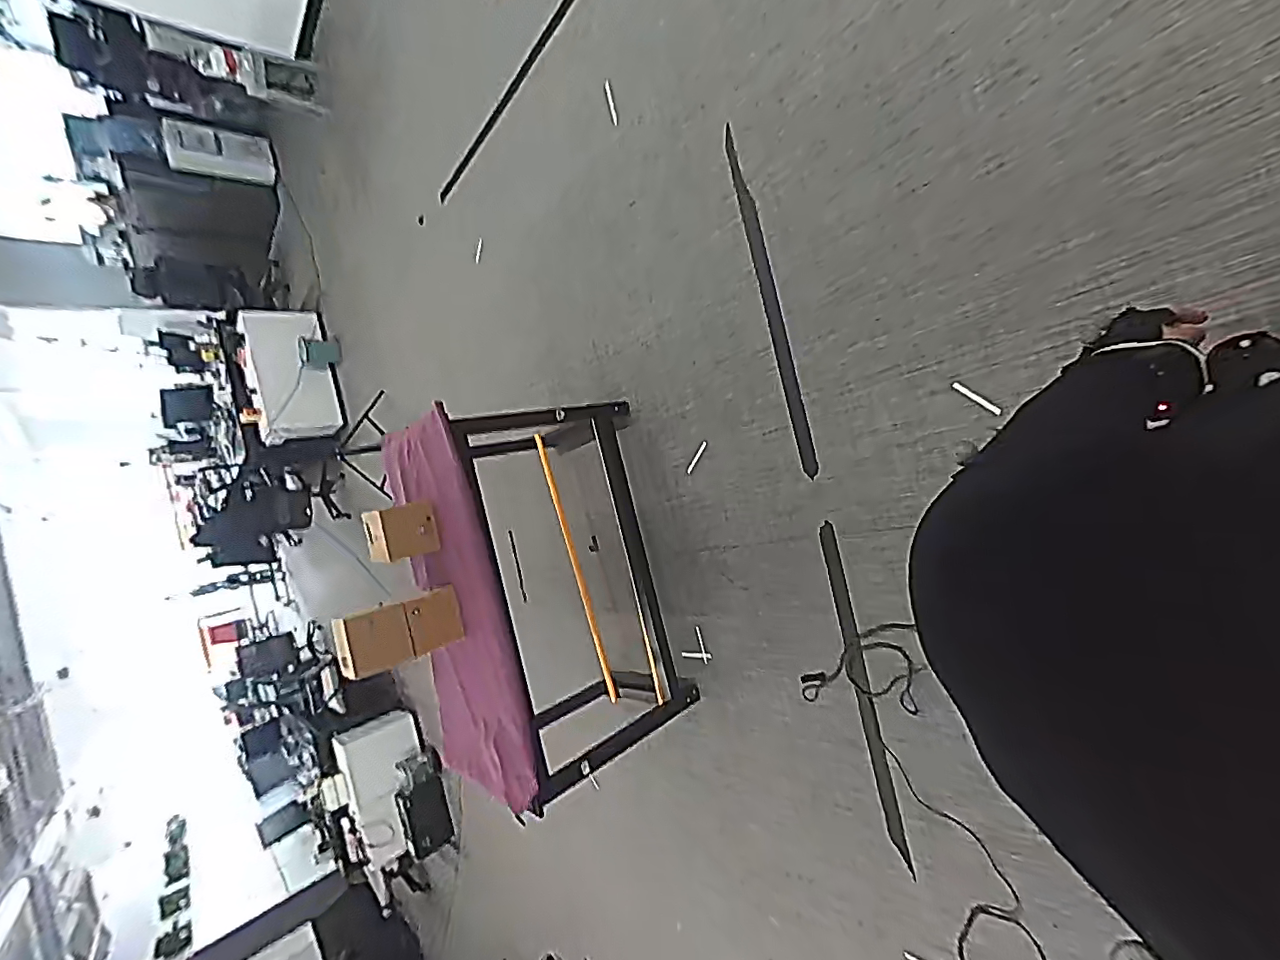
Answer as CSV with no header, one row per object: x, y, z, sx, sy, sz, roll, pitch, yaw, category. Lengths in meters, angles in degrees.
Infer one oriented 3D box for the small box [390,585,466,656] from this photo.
-0.679,0.446,1.738,0.168,0.176,0.179,-15,88,49,small box

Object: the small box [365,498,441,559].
-0.769,0.158,1.760,0.179,0.176,0.168,-10,93,48,small box
